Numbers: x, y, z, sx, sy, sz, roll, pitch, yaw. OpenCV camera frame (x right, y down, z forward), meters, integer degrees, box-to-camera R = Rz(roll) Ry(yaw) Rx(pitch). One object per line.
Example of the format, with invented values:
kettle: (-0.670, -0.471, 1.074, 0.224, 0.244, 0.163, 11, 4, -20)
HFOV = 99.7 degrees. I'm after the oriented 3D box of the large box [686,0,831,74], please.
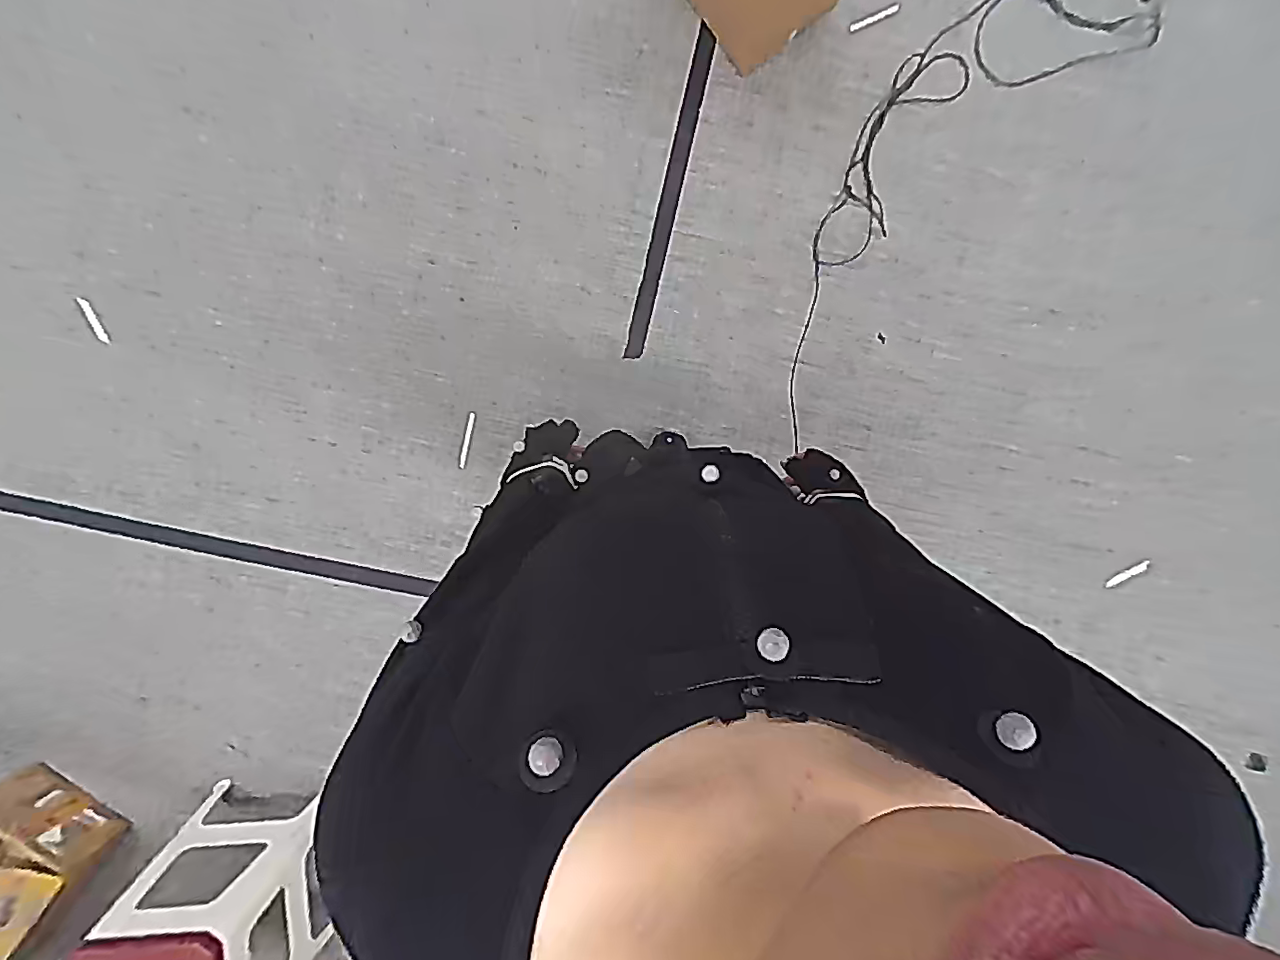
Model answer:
large box: (0.269, -1.308, 1.271, 0.320, 0.320, 0.408, -38, 94, 1)
